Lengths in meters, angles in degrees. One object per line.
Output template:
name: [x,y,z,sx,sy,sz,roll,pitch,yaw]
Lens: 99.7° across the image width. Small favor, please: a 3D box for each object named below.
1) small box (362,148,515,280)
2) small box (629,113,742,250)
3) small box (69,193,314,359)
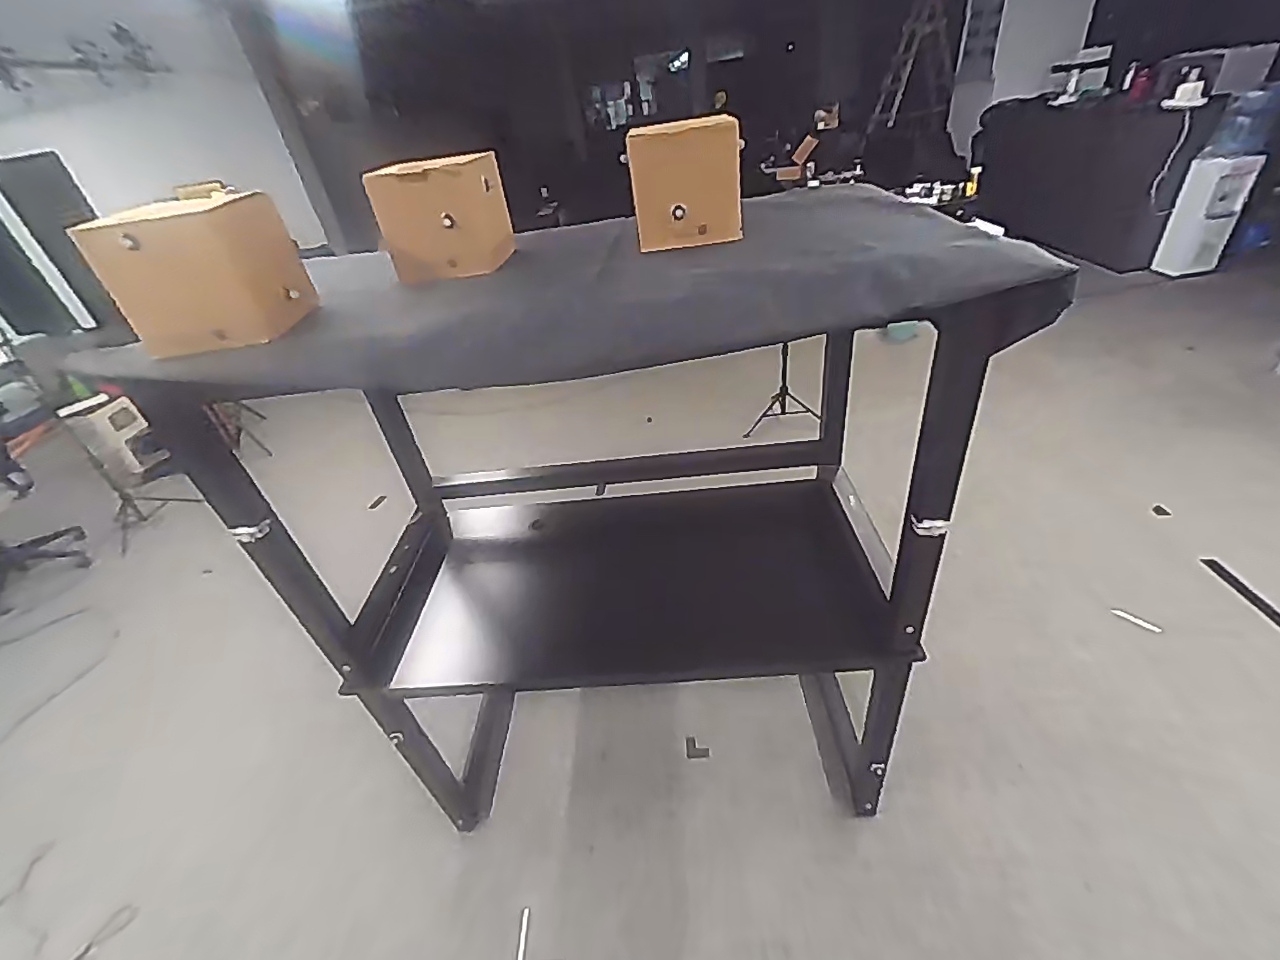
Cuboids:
small box: [-0.327,-0.449,0.923,0.168,0.176,0.179,-3,36,7]
small box: [0.076,-0.491,0.892,0.168,0.176,0.179,-5,36,6]
small box: [-0.589,-0.284,0.748,0.168,0.176,0.179,-9,36,-1]
